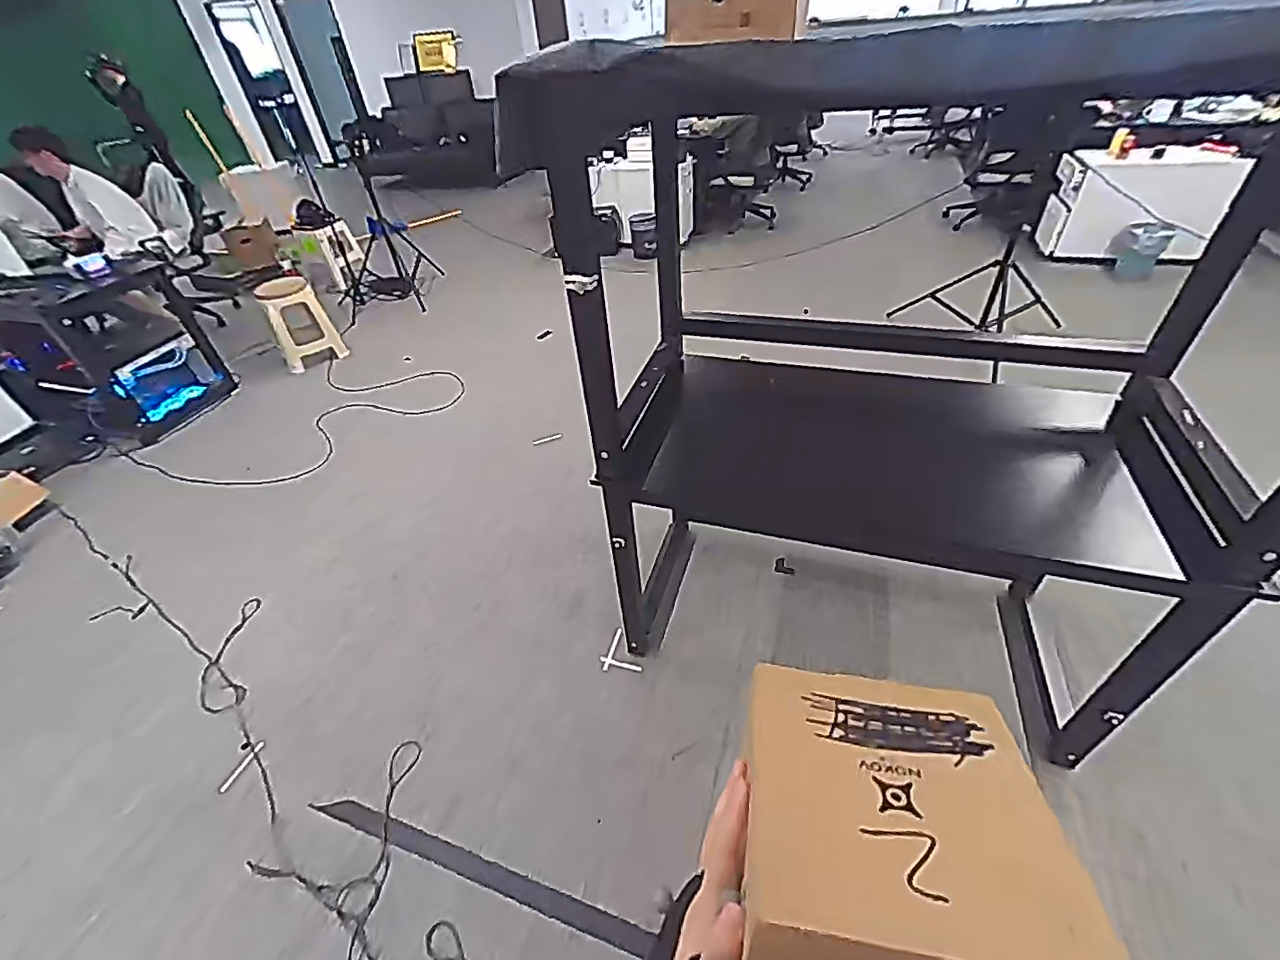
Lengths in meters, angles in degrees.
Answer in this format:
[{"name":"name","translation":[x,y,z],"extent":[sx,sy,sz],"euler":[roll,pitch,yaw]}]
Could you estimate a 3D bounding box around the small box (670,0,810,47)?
[{"name":"small box","translation":[0.134,-0.663,0.688],"extent":[0.168,0.176,0.179],"euler":[9,42,15]}]
